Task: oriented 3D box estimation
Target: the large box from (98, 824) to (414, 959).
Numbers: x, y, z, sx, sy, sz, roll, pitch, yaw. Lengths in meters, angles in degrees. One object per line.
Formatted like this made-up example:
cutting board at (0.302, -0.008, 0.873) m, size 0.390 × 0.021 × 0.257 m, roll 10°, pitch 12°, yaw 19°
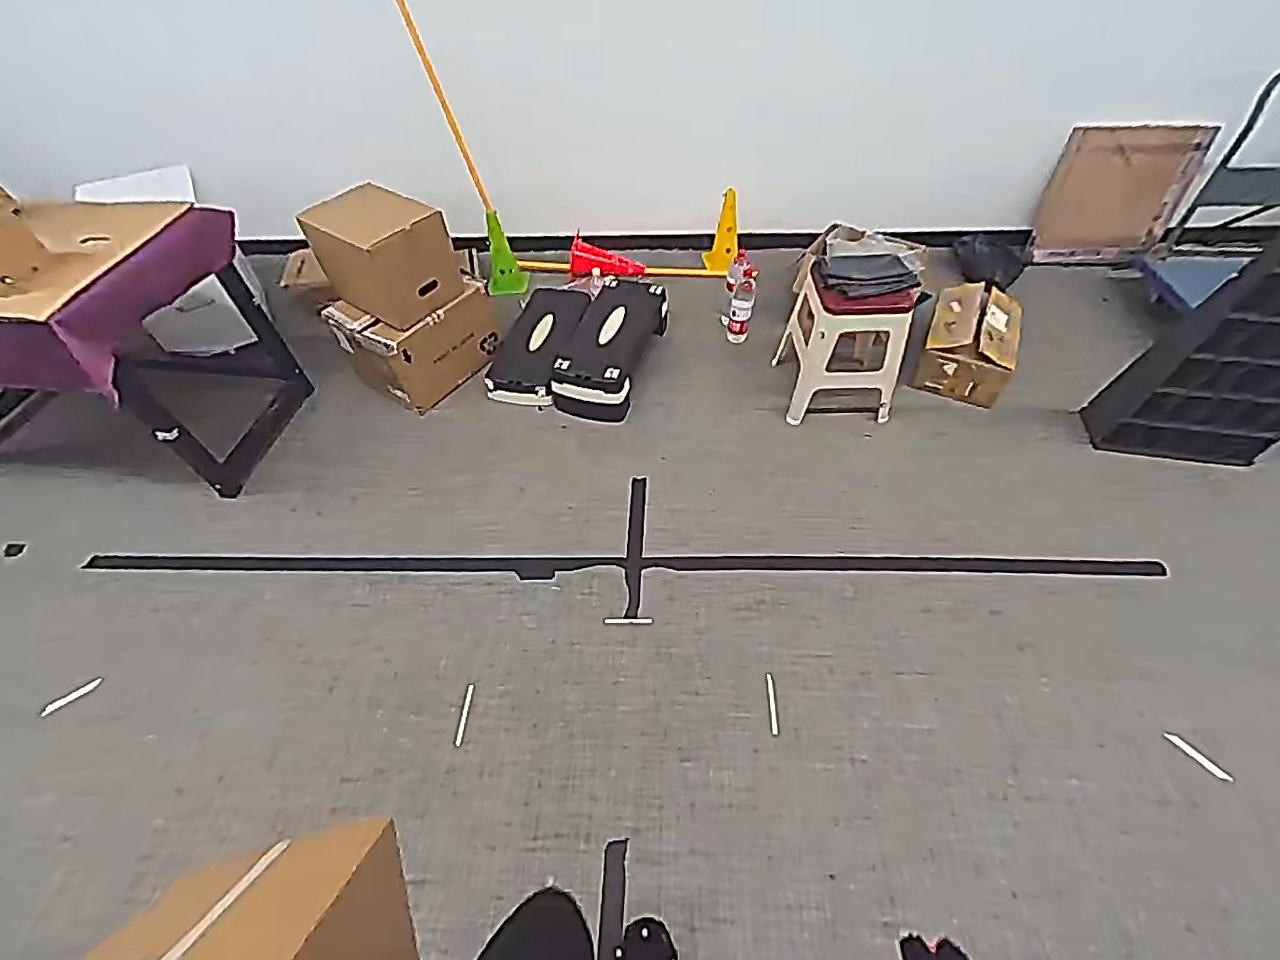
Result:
large box at (-0.492, 0.707, 0.644) m, size 0.320 × 0.408 × 0.320 m, roll -13°, pitch 86°, yaw -6°
